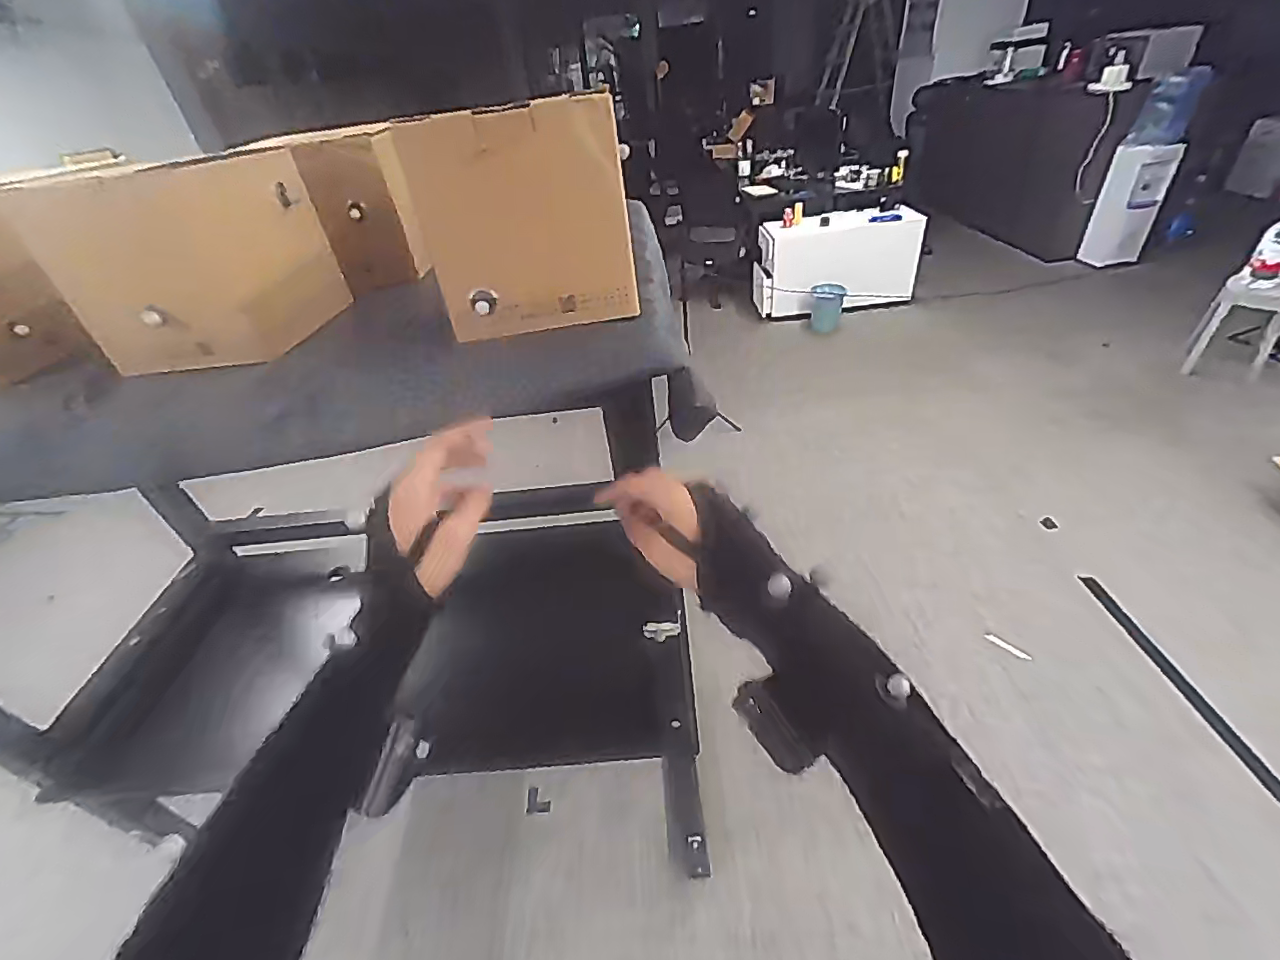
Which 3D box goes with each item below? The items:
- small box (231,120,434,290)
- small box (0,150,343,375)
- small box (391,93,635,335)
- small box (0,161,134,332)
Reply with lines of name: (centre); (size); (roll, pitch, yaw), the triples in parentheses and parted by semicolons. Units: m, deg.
small box: (-0.378, -0.361, 0.720); (0.168, 0.176, 0.179); (-6, 38, 0)
small box: (-0.439, -0.222, 0.552); (0.168, 0.176, 0.179); (-4, 37, 6)
small box: (-0.100, -0.243, 0.507); (0.168, 0.176, 0.179); (-9, 33, -1)
small box: (-0.777, -0.319, 0.742); (0.179, 0.176, 0.168); (-6, 38, 4)
